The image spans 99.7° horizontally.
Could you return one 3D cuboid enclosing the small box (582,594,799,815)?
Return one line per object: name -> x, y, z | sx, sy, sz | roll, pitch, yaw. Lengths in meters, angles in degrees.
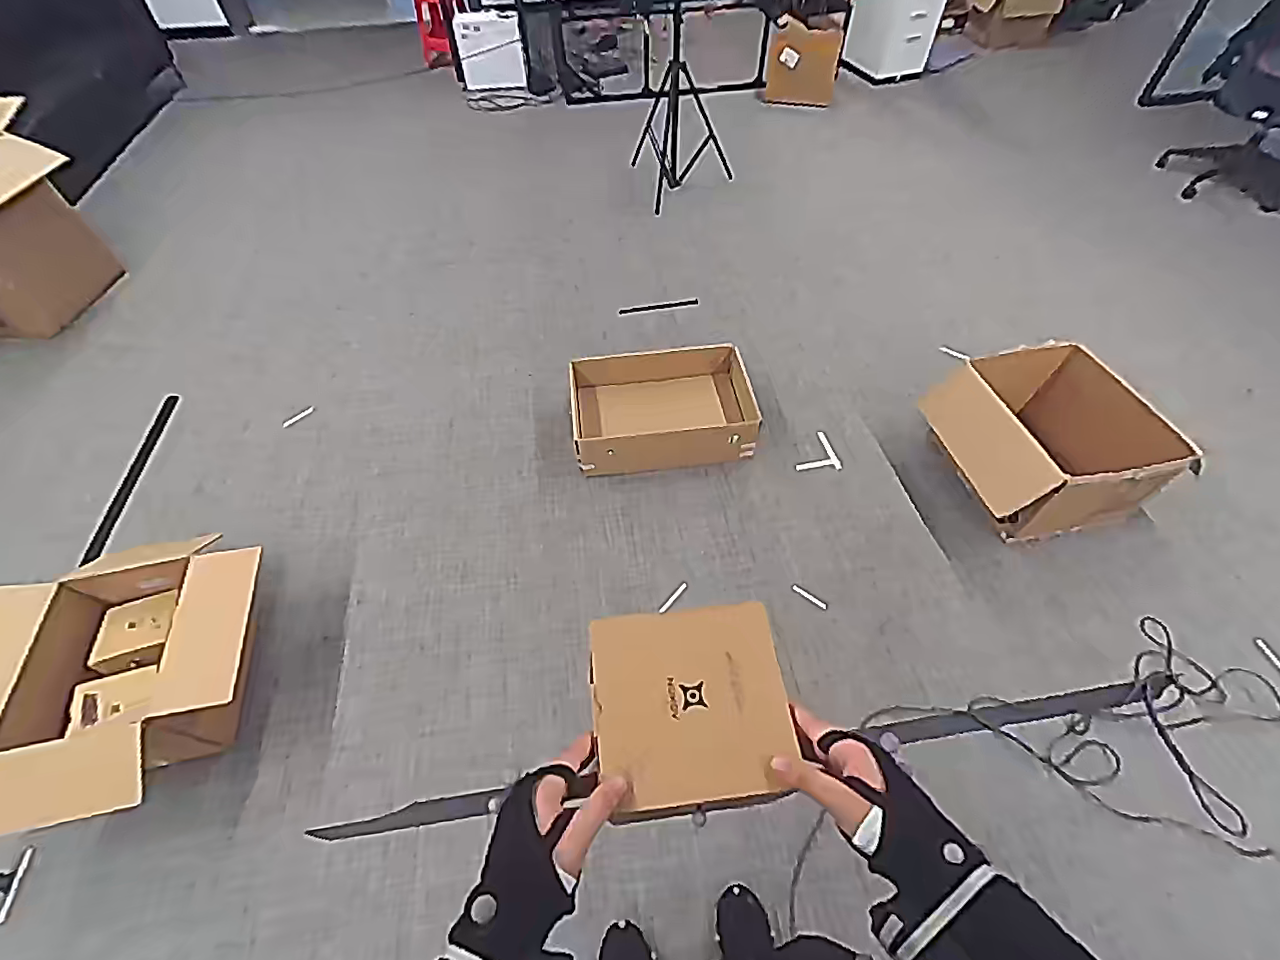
small box -> 0.040, 0.235, 0.556 | 0.179, 0.176, 0.168 | -6, 56, -4
